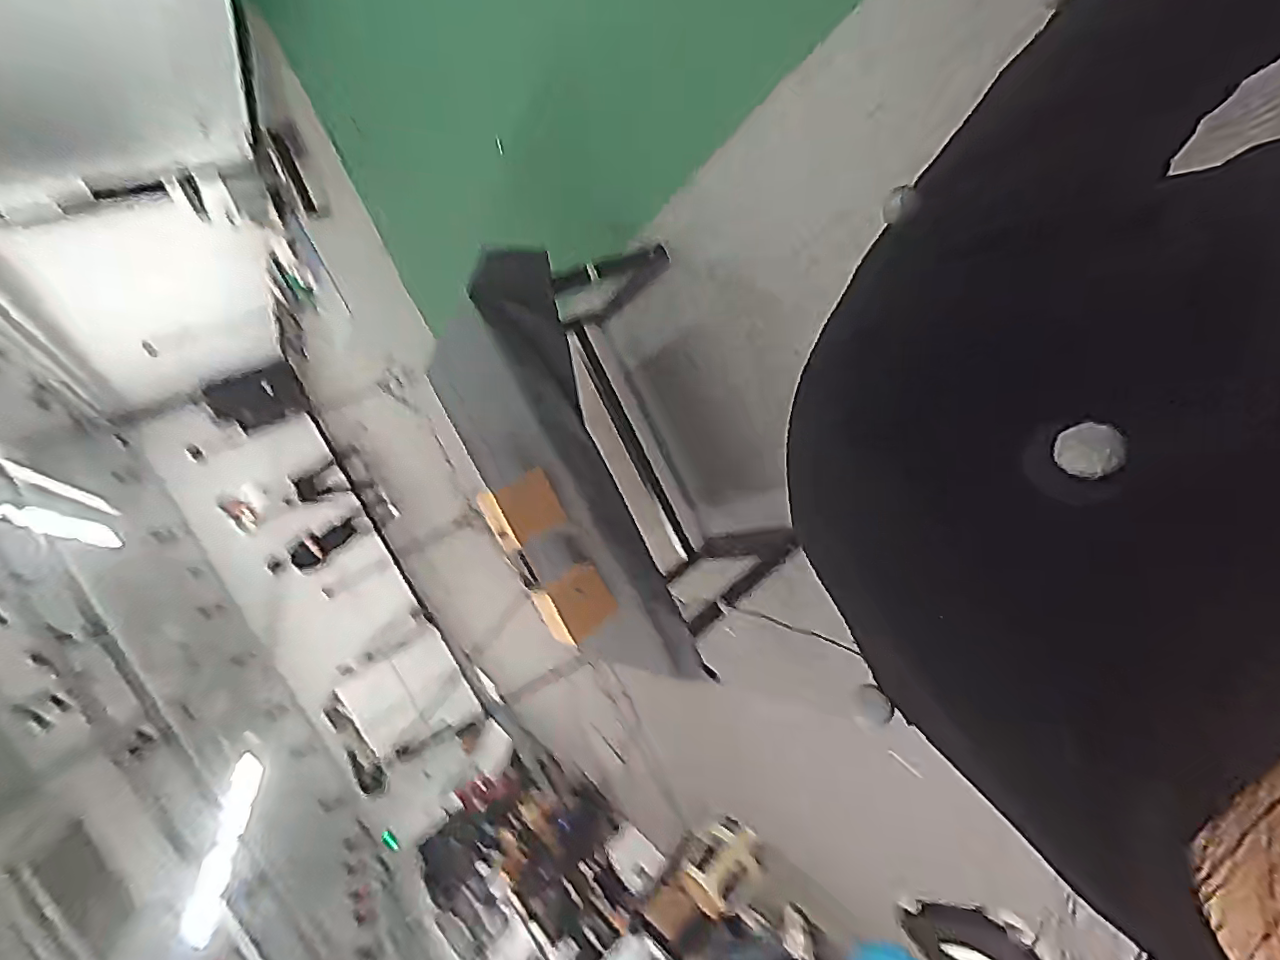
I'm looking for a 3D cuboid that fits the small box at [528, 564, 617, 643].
[{"bbox_3d":[-0.200,0.361,1.617,0.168,0.176,0.179,-18,101,59],"label":"small box"}]
